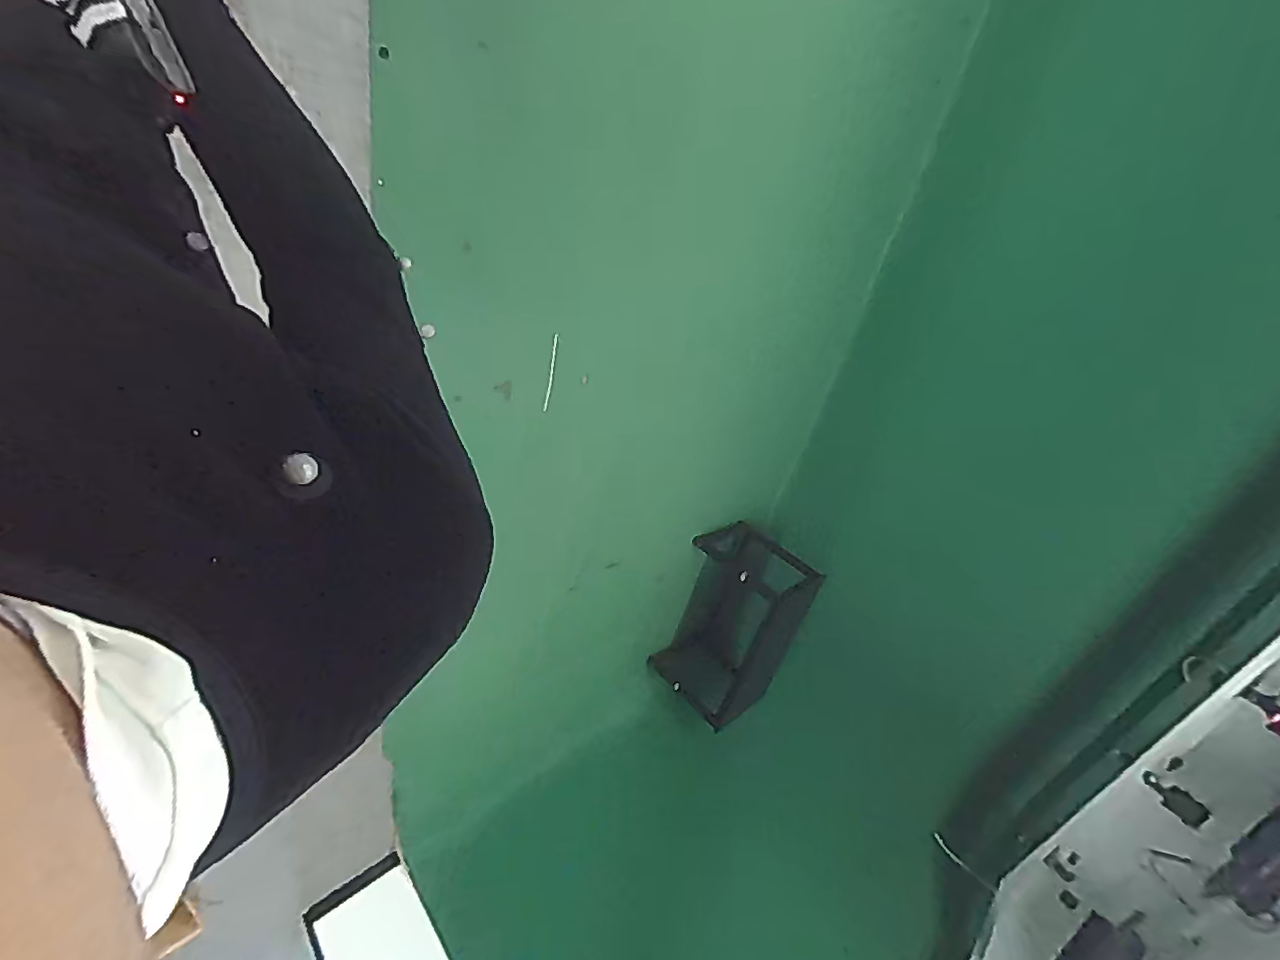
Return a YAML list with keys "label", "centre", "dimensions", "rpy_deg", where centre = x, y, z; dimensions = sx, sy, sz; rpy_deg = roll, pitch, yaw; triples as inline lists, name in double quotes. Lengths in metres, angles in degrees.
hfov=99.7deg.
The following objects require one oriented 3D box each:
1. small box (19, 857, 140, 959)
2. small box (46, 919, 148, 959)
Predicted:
- label: "small box"
  centre: [-1.347, 1.065, 1.305]
  dimensions: [0.168, 0.176, 0.179]
  rpy_deg: [-20, 135, -41]
- label: "small box"
  centre: [-1.236, 1.148, 1.218]
  dimensions: [0.168, 0.176, 0.179]
  rpy_deg: [-21, 137, -39]
